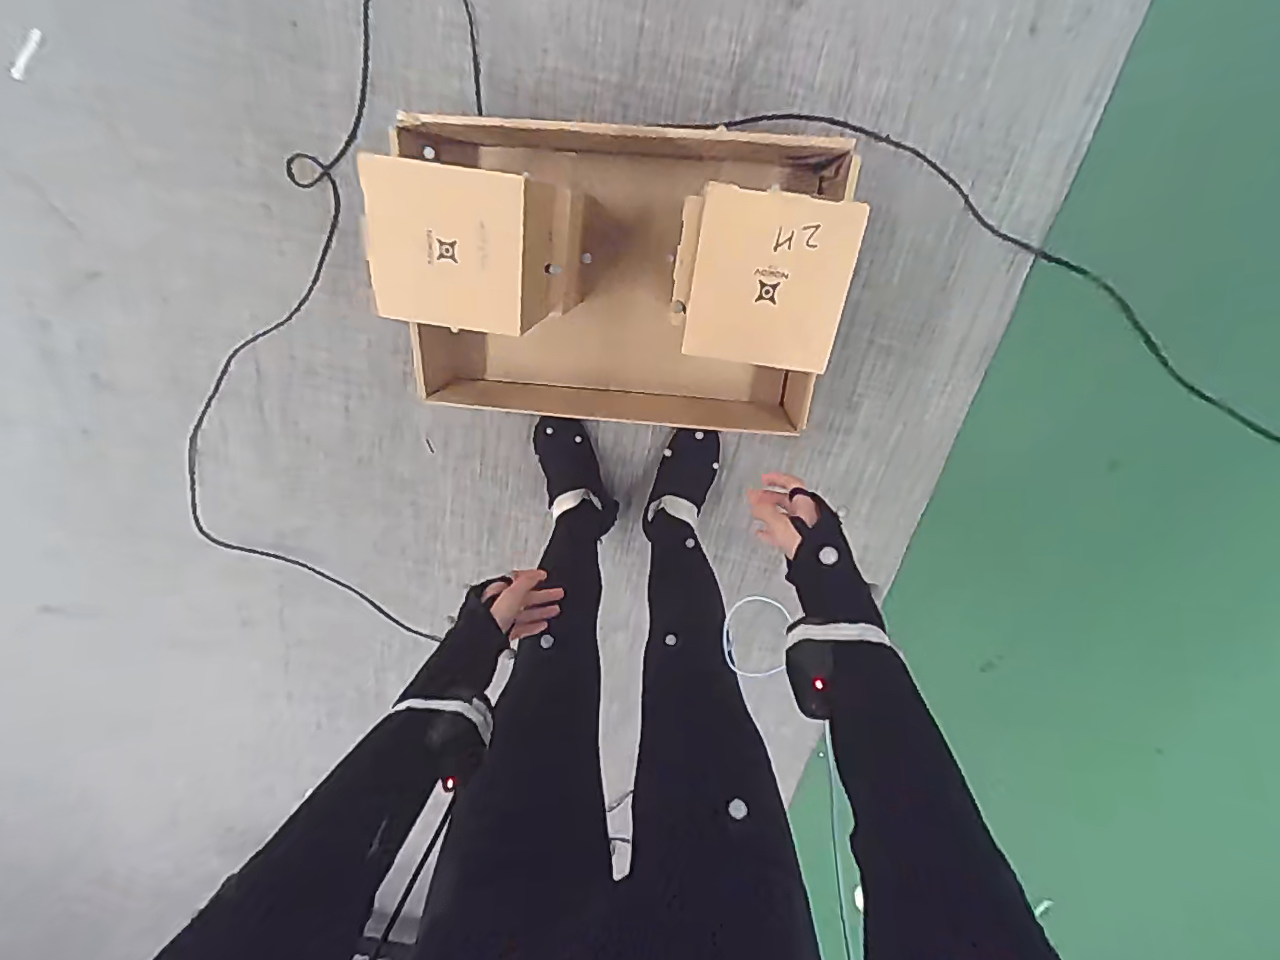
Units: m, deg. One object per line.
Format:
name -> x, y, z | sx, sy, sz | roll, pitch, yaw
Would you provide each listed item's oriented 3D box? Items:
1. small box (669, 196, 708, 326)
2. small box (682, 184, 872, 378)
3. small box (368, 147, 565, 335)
small box -> 0.144, -0.309, 0.799 | 0.179, 0.176, 0.168 | 10, 114, 1
small box -> 0.147, -0.238, 0.649 | 0.168, 0.176, 0.179 | 9, 114, -1
small box -> -0.199, -0.286, 0.656 | 0.179, 0.176, 0.168 | 9, 116, 0
